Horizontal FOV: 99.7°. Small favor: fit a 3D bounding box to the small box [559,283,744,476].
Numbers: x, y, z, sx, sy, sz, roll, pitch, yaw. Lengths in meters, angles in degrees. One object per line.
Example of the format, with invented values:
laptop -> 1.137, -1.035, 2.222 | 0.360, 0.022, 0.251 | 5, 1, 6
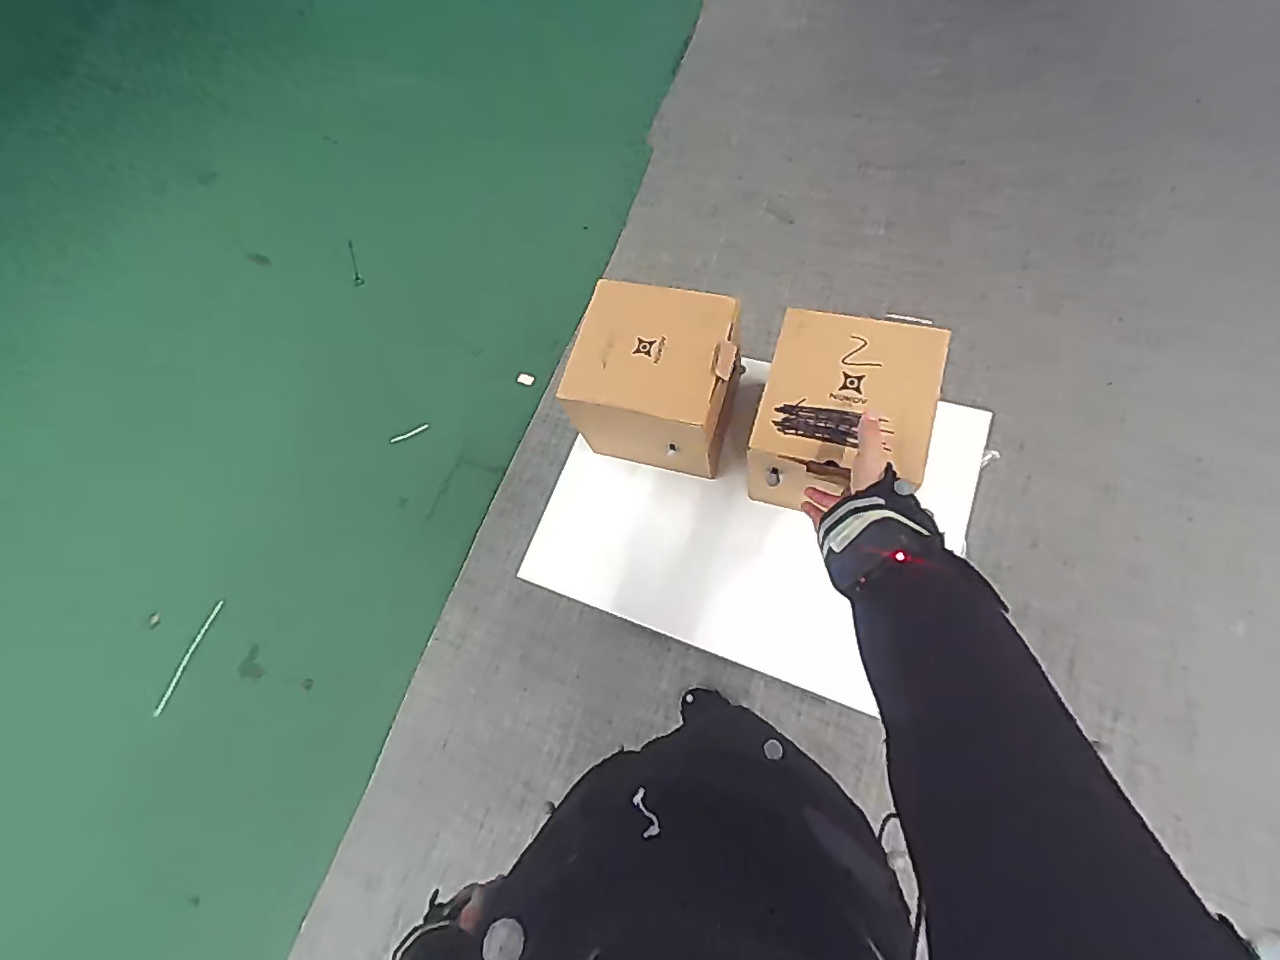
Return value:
small box -> 0.027, -0.117, 0.681 | 0.179, 0.176, 0.168 | 13, 72, 15
